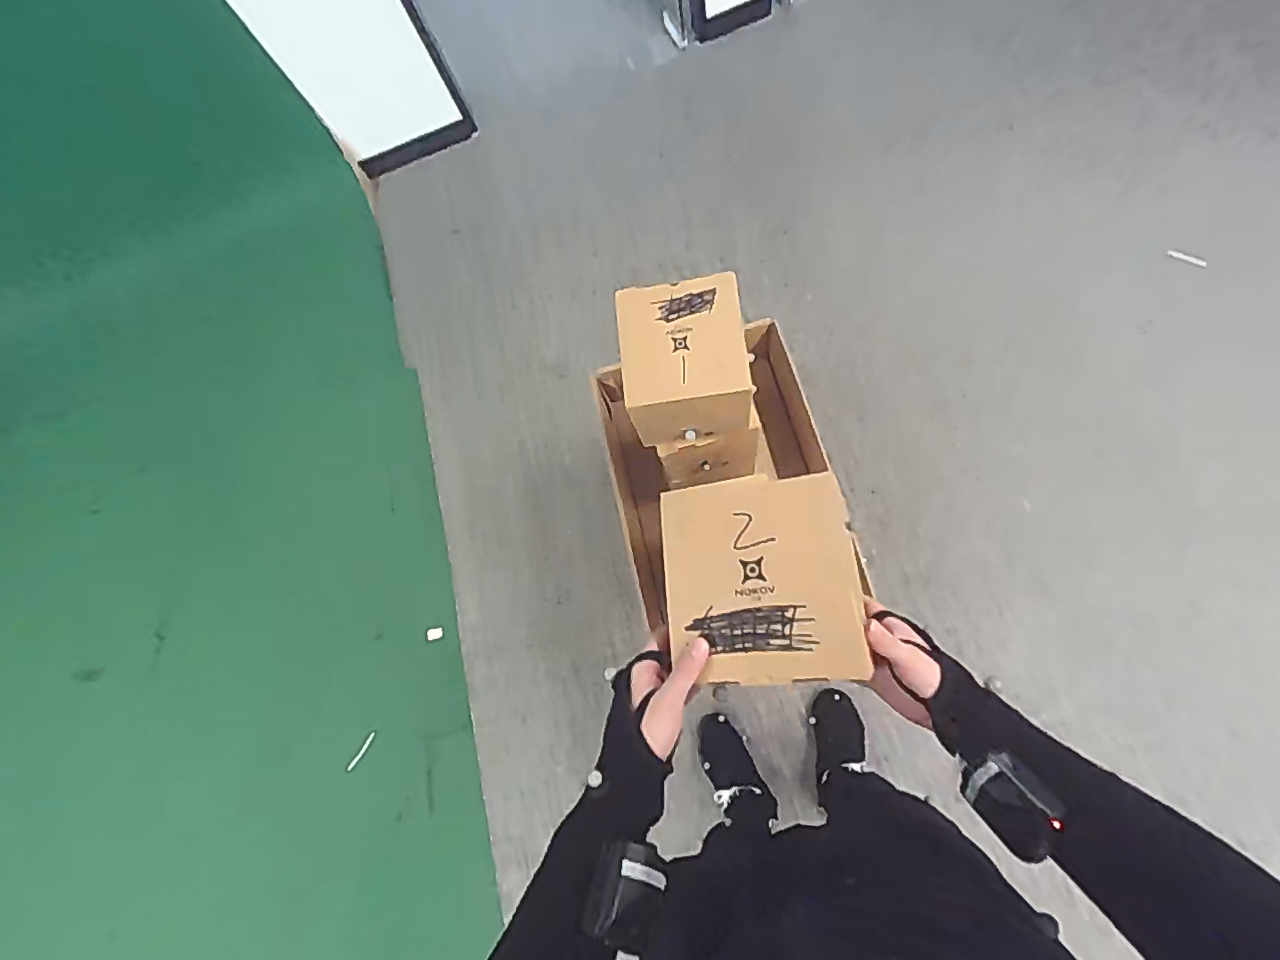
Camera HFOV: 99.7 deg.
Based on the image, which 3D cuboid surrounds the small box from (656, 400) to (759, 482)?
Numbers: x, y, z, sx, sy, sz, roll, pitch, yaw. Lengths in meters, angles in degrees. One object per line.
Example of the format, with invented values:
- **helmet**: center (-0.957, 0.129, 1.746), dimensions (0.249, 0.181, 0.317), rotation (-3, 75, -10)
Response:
- **small box**: center (0.099, -0.115, 0.944), dimensions (0.168, 0.176, 0.179), rotation (-16, 73, 5)

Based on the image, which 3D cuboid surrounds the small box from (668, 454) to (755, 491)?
- **small box**: center (0.128, -0.073, 1.097), dimensions (0.168, 0.176, 0.179), rotation (-16, 72, 6)

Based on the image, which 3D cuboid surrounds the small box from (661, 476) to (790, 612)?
- **small box**: center (0.136, 0.112, 0.862), dimensions (0.168, 0.176, 0.179), rotation (-10, 70, 7)

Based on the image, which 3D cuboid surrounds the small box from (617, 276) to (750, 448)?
- **small box**: center (0.065, -0.163, 0.790), dimensions (0.168, 0.176, 0.179), rotation (-7, 74, 8)
